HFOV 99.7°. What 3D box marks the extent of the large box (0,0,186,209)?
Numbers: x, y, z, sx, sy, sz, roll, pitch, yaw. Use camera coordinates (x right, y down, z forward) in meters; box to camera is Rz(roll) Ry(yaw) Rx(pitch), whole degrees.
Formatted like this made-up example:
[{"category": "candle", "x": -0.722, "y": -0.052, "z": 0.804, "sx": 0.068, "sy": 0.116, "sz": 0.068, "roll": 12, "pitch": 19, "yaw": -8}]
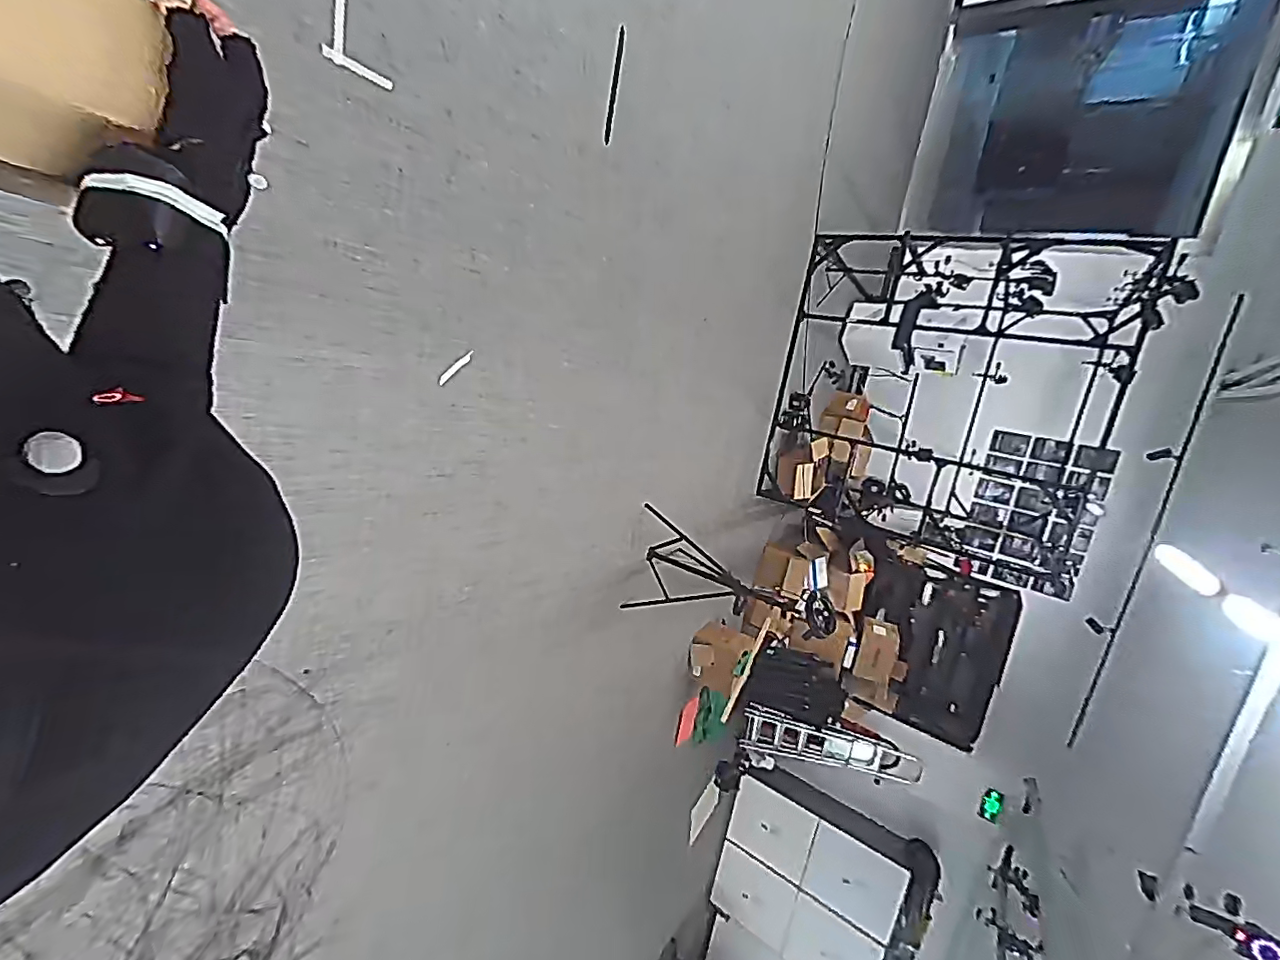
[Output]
[{"category": "large box", "x": -0.589, "y": -0.413, "z": 0.334, "sx": 0.408, "sy": 0.320, "sz": 0.320, "roll": 2, "pitch": 106, "yaw": -60}]
